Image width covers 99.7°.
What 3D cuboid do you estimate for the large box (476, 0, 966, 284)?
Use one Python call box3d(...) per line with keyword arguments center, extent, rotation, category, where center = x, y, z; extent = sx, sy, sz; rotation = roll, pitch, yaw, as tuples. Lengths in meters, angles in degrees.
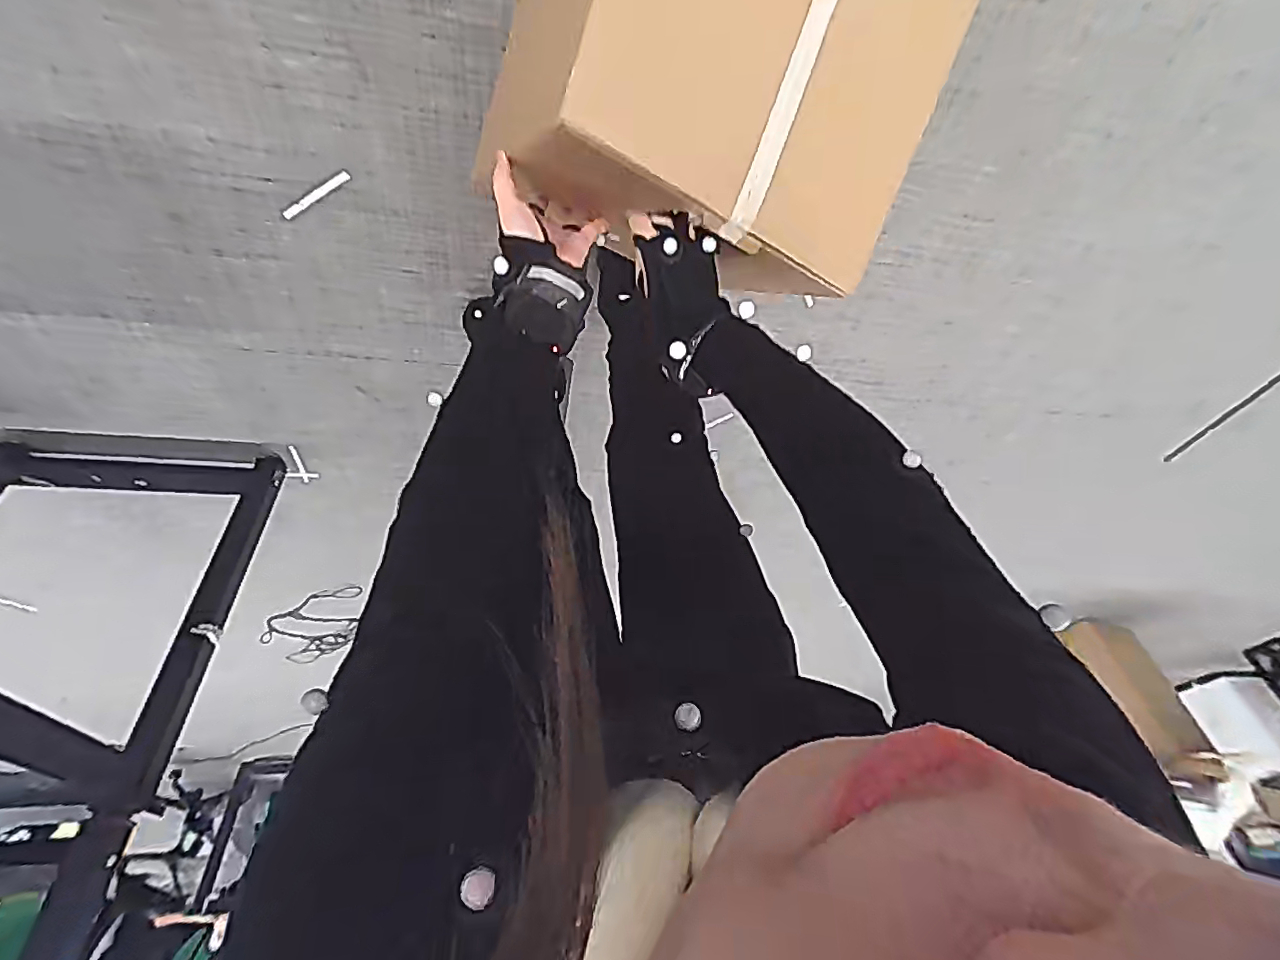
box3d(center=(0.070, -0.441, 0.522), extent=(0.320, 0.320, 0.408), rotation=(15, 100, -33), category="large box")
